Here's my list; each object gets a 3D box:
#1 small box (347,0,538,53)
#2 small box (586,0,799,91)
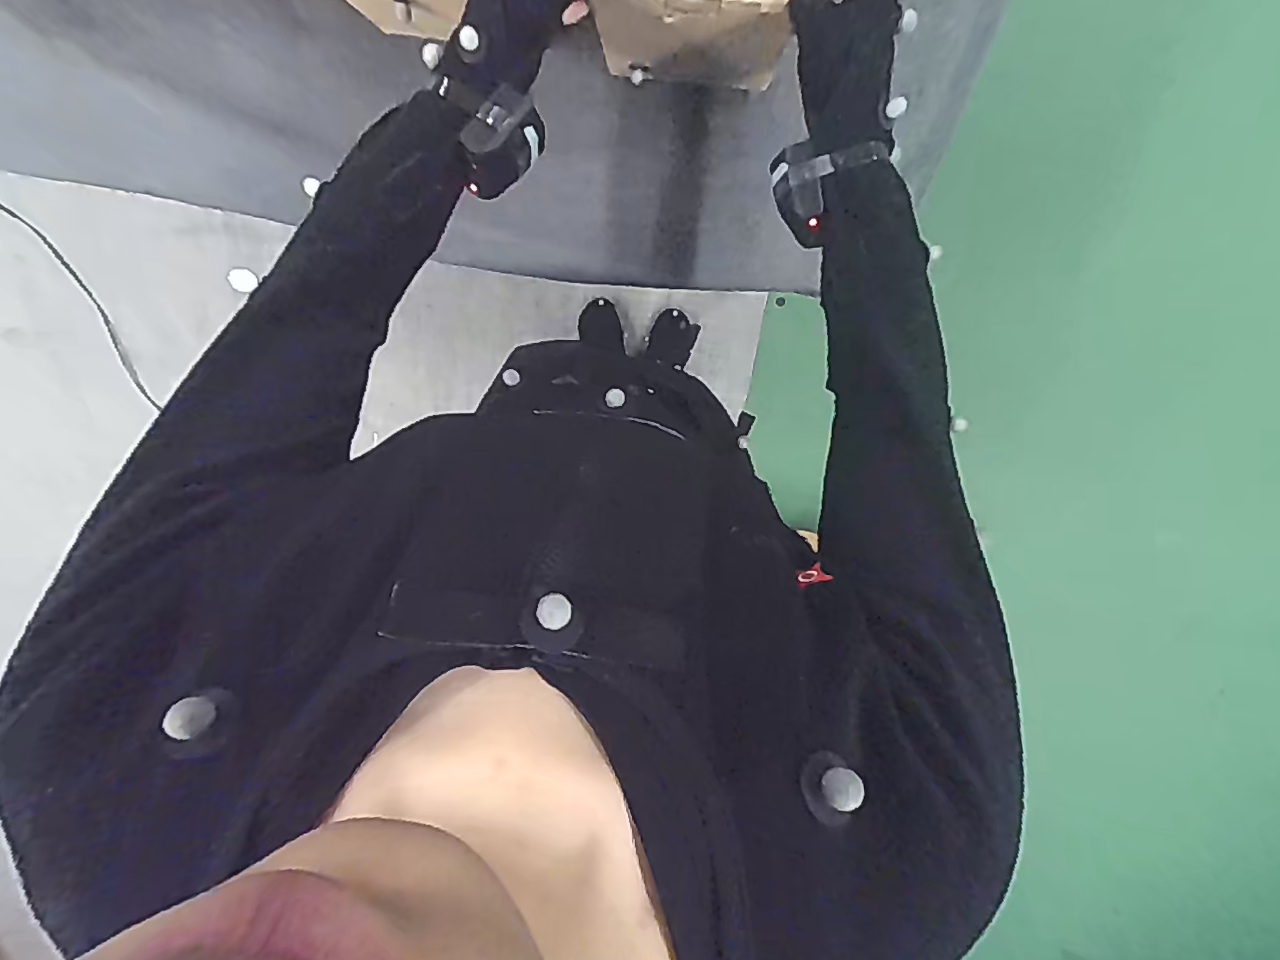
[{"bbox_3d":[-0.181,-0.502,0.460,0.168,0.176,0.179,7,110,-1],"label":"small box"},{"bbox_3d":[0.053,-0.462,0.456,0.168,0.176,0.179,7,108,1],"label":"small box"}]
